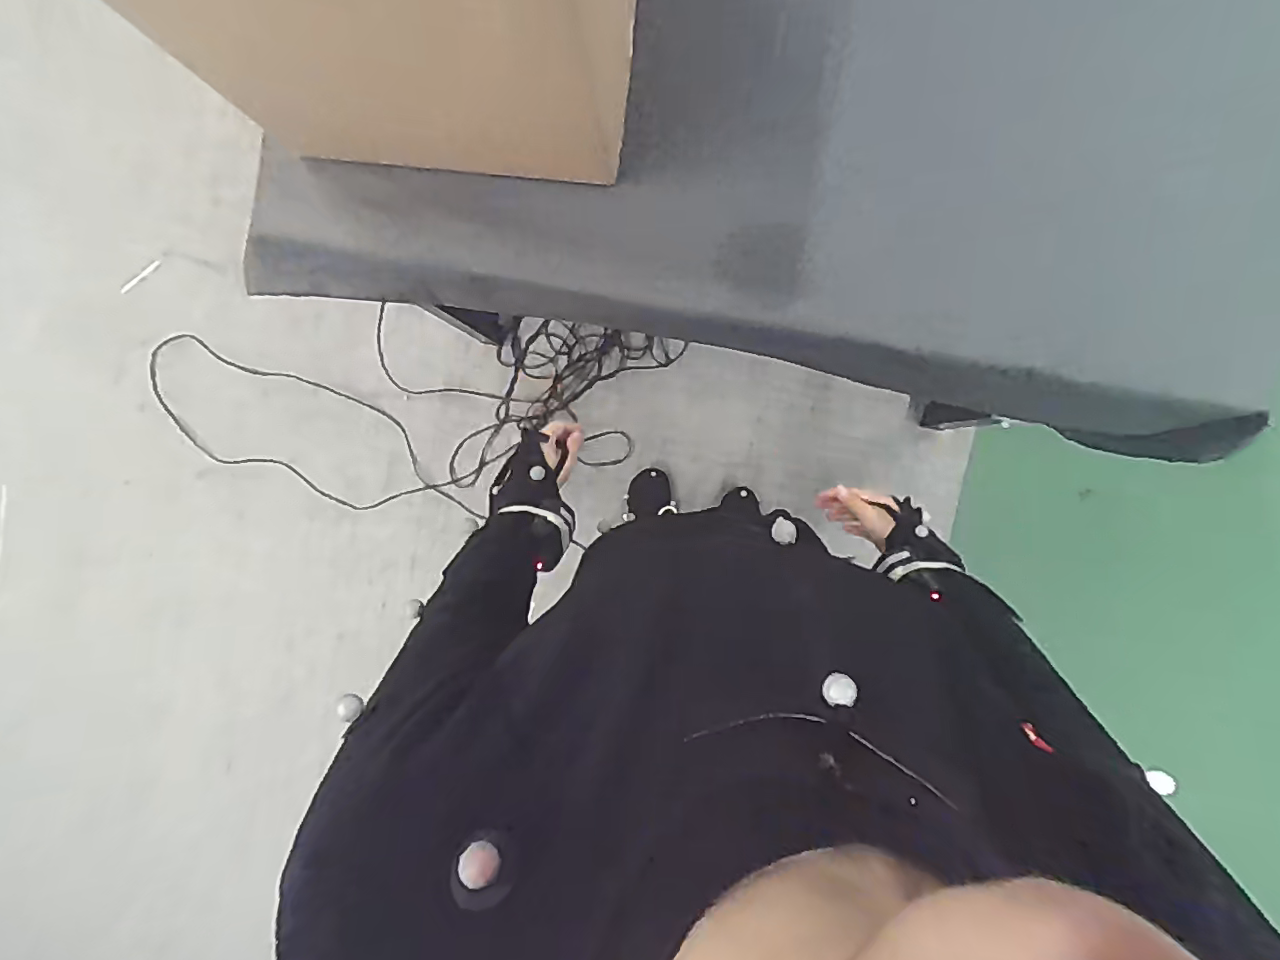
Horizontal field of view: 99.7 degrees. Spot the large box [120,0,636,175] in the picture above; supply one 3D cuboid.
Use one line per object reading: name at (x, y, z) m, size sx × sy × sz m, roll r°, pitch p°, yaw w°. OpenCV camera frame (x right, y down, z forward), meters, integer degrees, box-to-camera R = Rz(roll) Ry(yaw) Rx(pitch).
large box at (-0.213, -0.521, 0.493) m, size 0.408 × 0.320 × 0.320 m, roll 6°, pitch 93°, yaw 2°
